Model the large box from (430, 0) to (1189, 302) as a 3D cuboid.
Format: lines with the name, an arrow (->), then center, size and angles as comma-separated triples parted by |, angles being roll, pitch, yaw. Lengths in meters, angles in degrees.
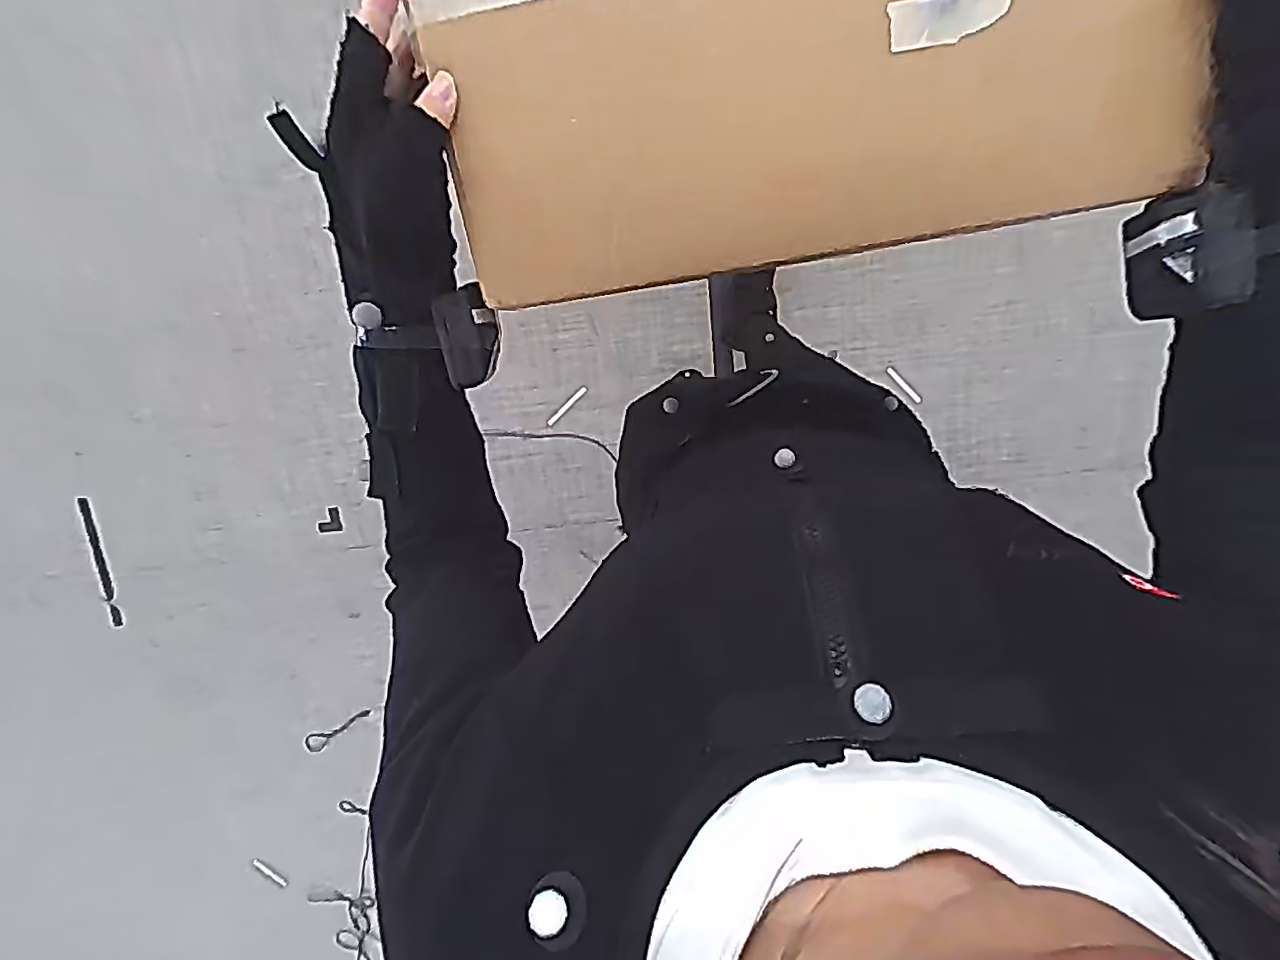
large box -> 0.083, -0.337, 0.419 | 0.408, 0.320, 0.320 | -9, 110, 5
